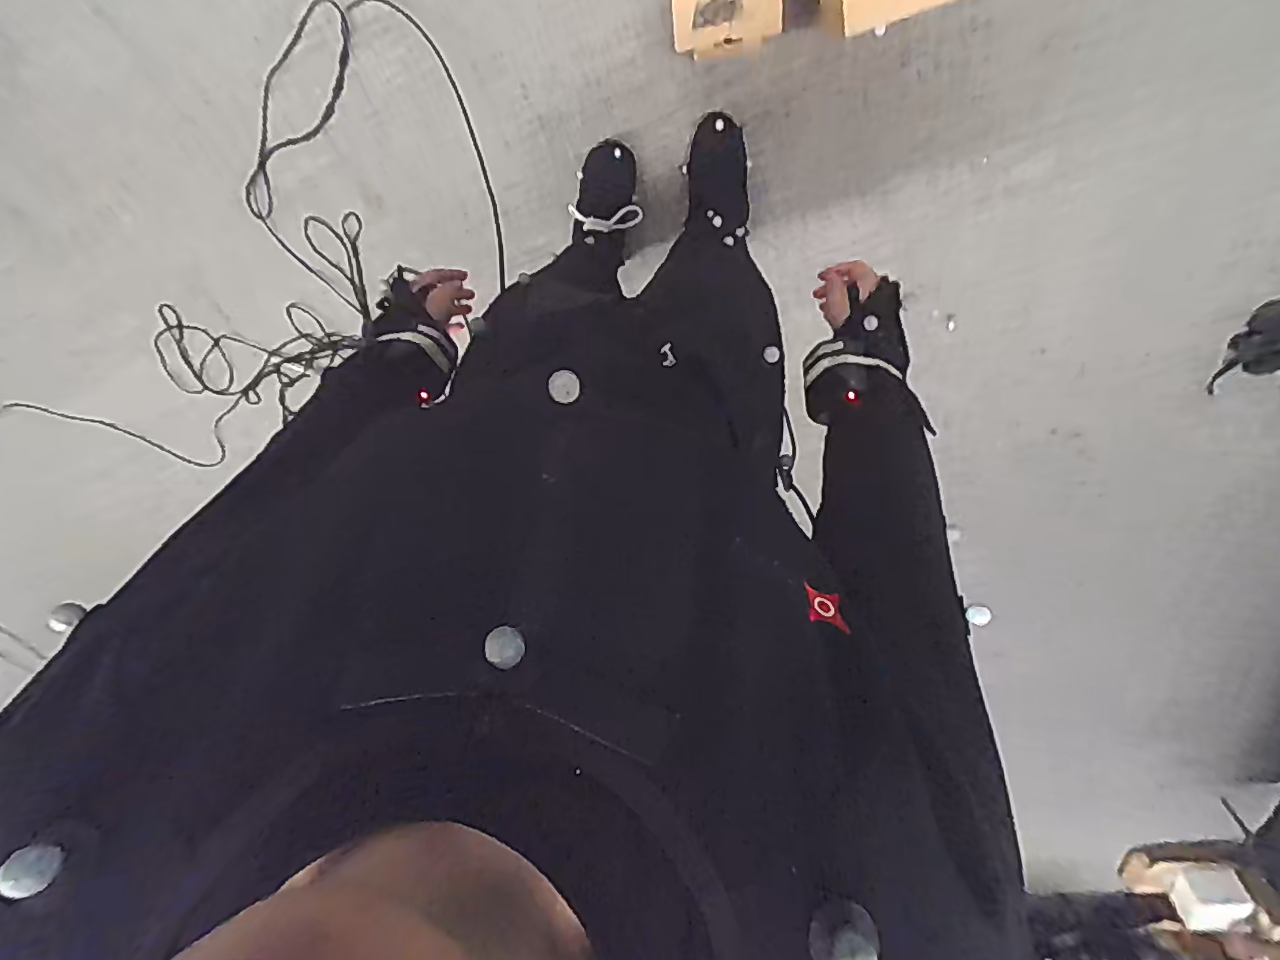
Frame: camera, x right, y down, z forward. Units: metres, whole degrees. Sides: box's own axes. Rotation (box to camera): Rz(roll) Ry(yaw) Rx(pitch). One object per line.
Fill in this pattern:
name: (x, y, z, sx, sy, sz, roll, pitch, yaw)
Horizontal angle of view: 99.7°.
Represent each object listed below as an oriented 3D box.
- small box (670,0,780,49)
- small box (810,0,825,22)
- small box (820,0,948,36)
small box: (0.129, -0.795, 0.842, 0.168, 0.176, 0.179, -3, 128, 8)
small box: (0.343, -0.817, 0.801, 0.168, 0.176, 0.179, -11, 127, 14)
small box: (0.322, -0.702, 0.687, 0.168, 0.176, 0.179, -10, 127, 15)
